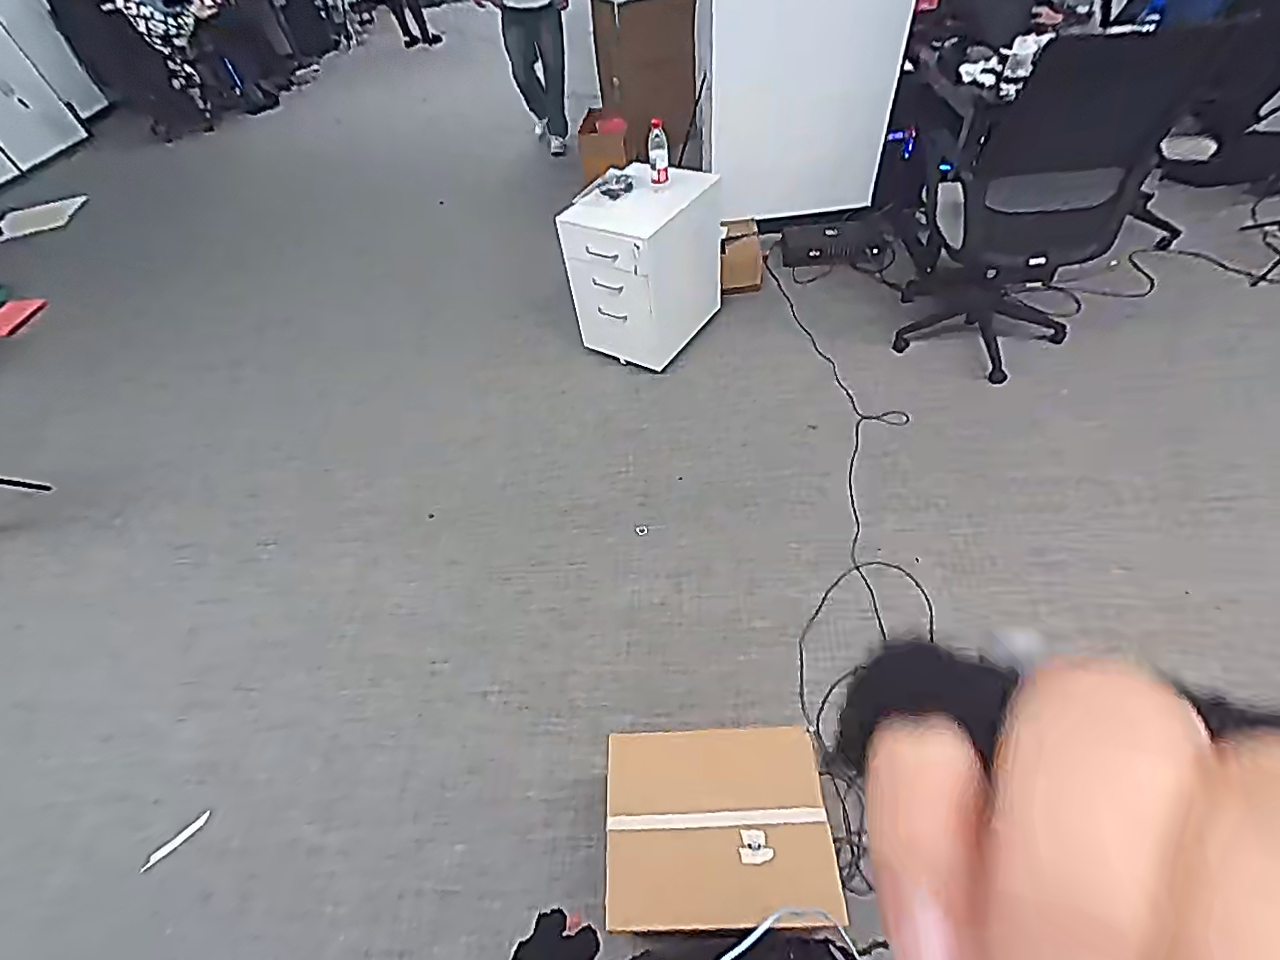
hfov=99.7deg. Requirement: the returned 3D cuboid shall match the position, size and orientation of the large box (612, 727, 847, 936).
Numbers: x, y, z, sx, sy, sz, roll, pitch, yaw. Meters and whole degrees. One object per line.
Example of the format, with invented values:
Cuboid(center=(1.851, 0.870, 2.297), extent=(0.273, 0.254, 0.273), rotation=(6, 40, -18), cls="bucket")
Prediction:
Cuboid(center=(0.158, 0.727, 1.114), extent=(0.408, 0.320, 0.320), rotation=(-4, 49, 4), cls="large box")
